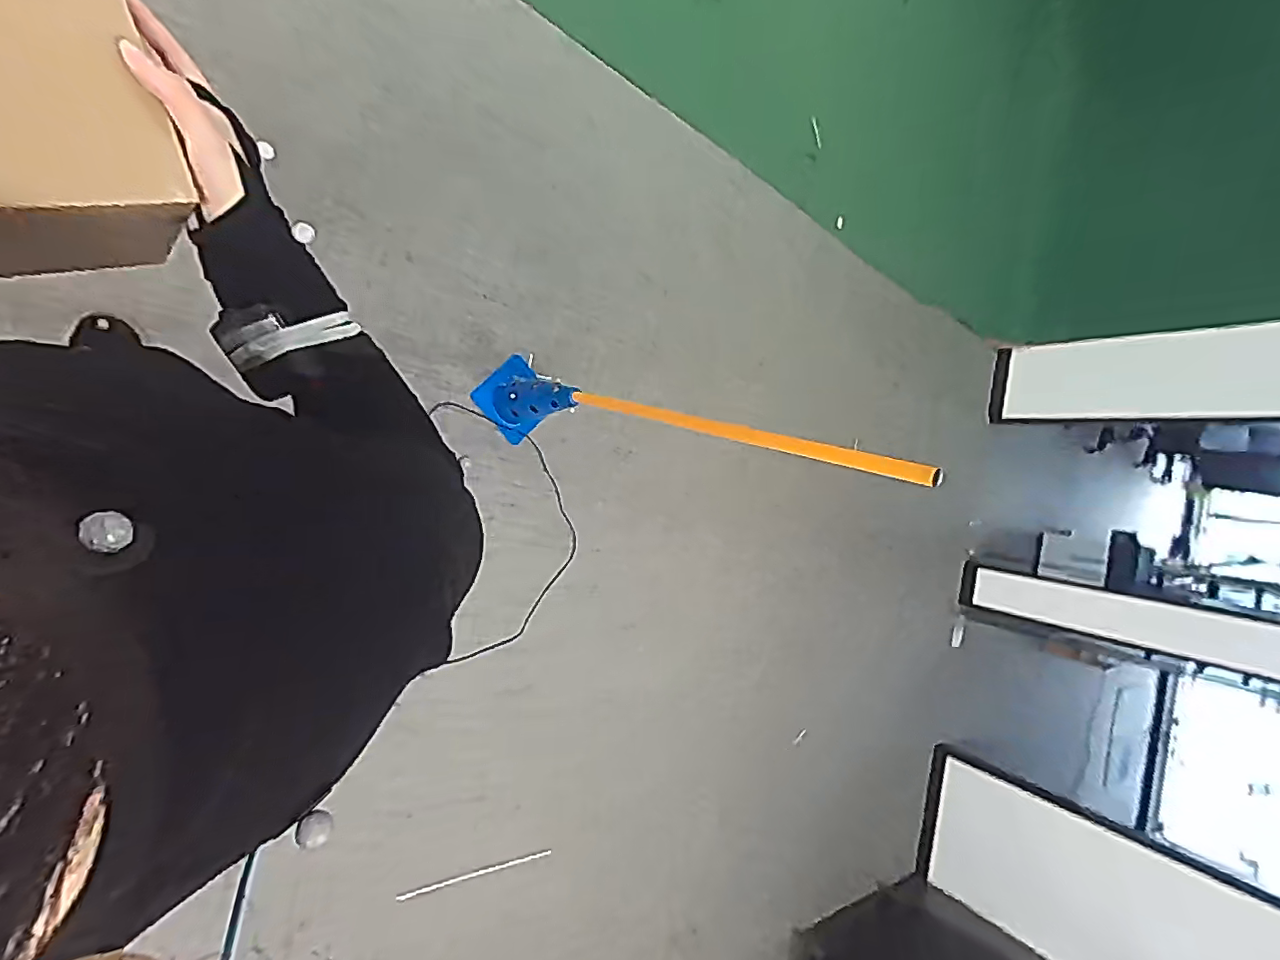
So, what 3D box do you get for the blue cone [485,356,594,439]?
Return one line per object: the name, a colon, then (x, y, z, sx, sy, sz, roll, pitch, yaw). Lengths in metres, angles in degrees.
blue cone: (-0.243, -0.229, 1.446, 0.192, 0.380, 0.193, 49, 66, -30)
